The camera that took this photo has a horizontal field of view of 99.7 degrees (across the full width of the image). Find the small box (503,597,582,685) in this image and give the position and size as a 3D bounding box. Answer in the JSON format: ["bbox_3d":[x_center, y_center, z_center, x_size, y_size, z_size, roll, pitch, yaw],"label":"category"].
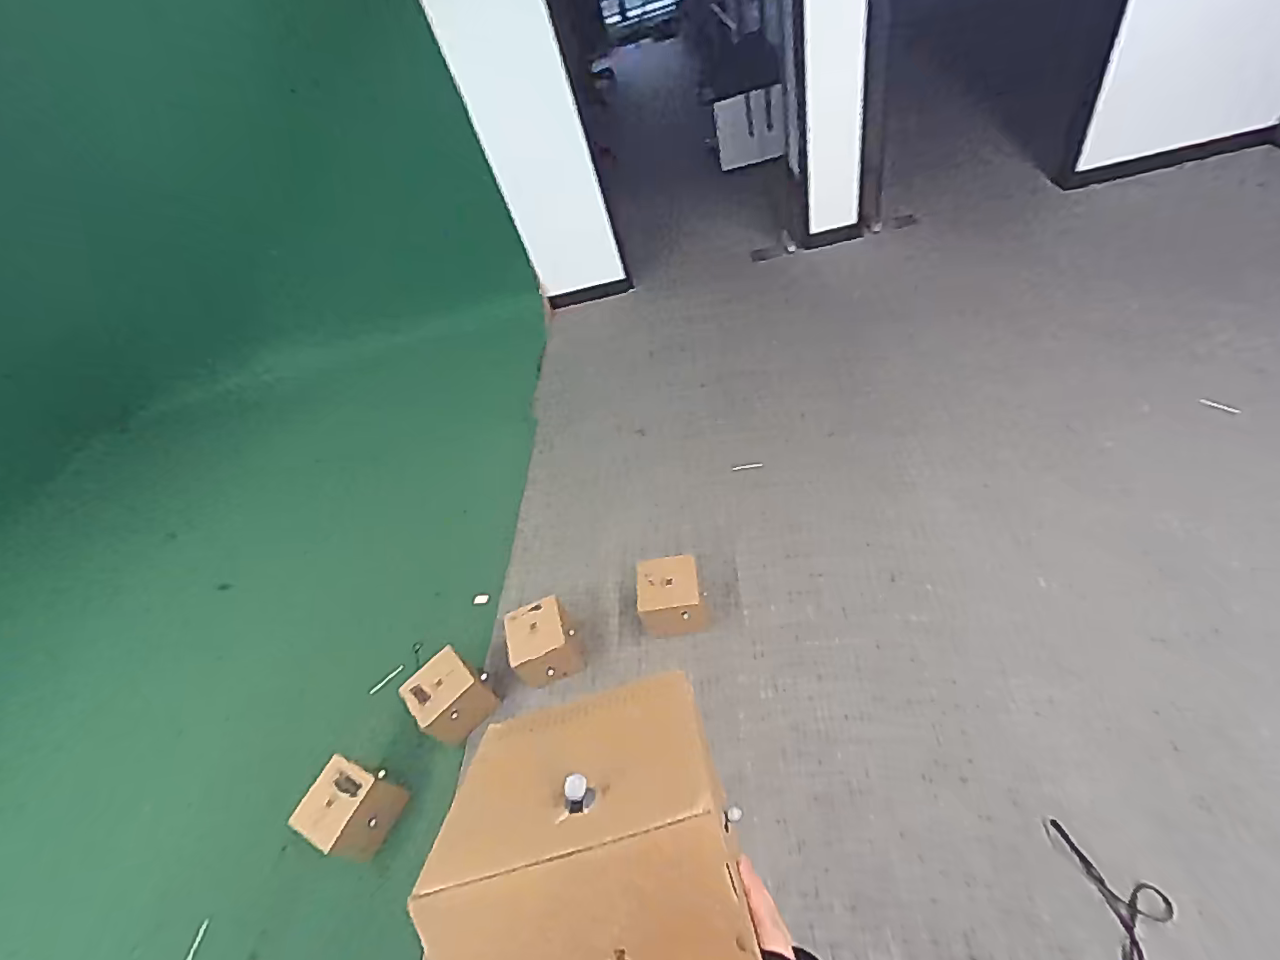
[{"bbox_3d":[-0.284,0.482,1.589,0.168,0.176,0.179,-22,46,-1],"label":"small box"}]

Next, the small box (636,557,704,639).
[{"bbox_3d":[0.091,0.347,1.580,0.179,0.176,0.168,-10,46,10],"label":"small box"}]

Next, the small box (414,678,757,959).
[{"bbox_3d":[-0.024,0.270,0.386,0.179,0.168,0.176,-16,6,1],"label":"small box"}]

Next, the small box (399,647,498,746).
[{"bbox_3d":[-0.544,0.625,1.550,0.179,0.176,0.168,-41,49,-20],"label":"small box"}]
